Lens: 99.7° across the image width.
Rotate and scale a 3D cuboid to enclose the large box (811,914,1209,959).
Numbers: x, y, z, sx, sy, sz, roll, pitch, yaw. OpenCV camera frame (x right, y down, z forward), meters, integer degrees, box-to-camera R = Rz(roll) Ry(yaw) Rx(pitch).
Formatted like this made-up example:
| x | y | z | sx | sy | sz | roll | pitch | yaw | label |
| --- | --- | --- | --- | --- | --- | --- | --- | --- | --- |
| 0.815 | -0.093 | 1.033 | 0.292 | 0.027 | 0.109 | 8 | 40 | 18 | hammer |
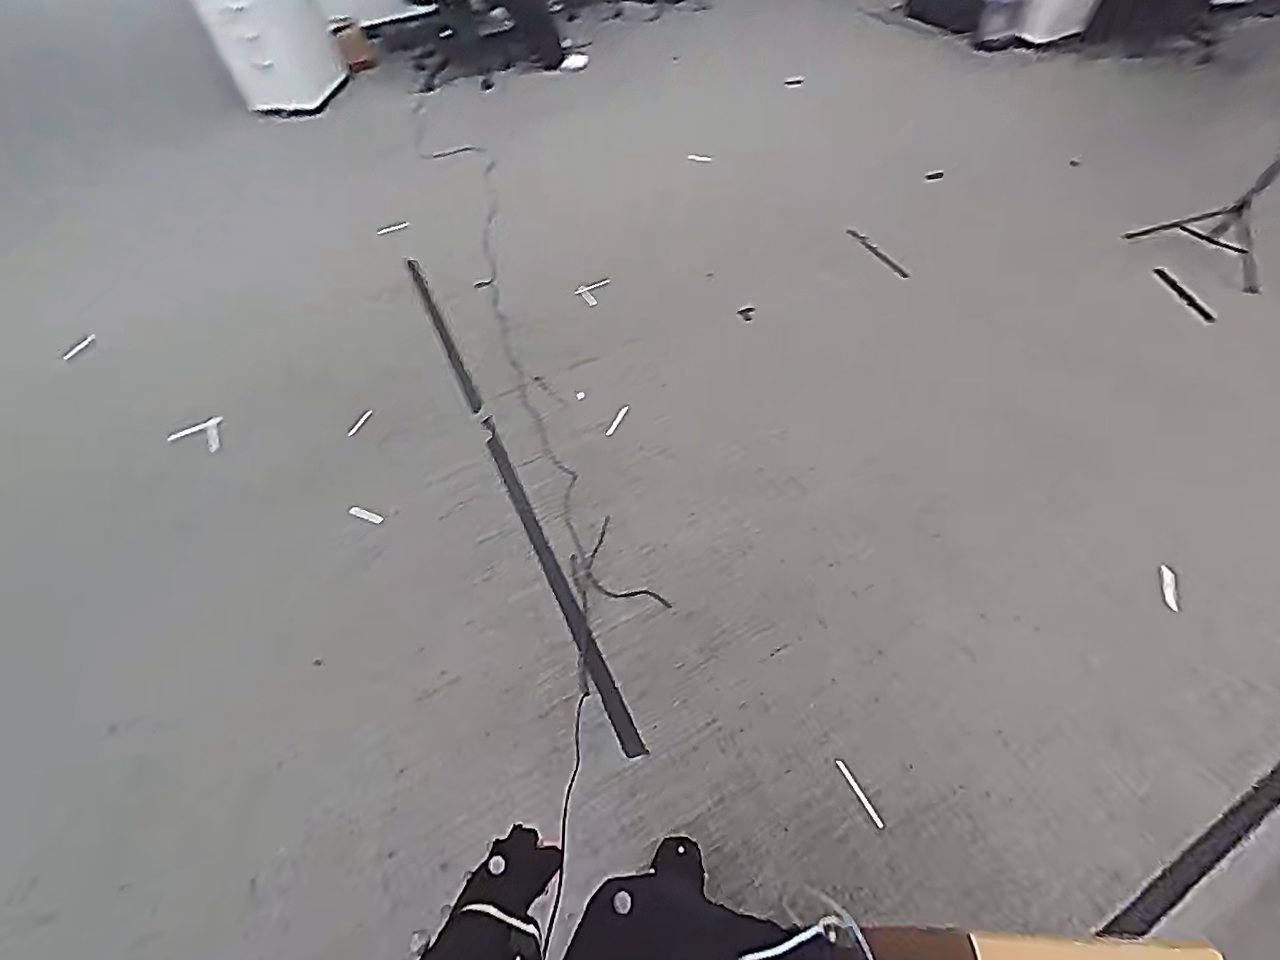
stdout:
| x | y | z | sx | sy | sz | roll | pitch | yaw | label |
| --- | --- | --- | --- | --- | --- | --- | --- | --- | --- |
| 0.457 | 0.731 | 0.655 | 0.320 | 0.408 | 0.320 | 7 | 51 | -6 | large box |
